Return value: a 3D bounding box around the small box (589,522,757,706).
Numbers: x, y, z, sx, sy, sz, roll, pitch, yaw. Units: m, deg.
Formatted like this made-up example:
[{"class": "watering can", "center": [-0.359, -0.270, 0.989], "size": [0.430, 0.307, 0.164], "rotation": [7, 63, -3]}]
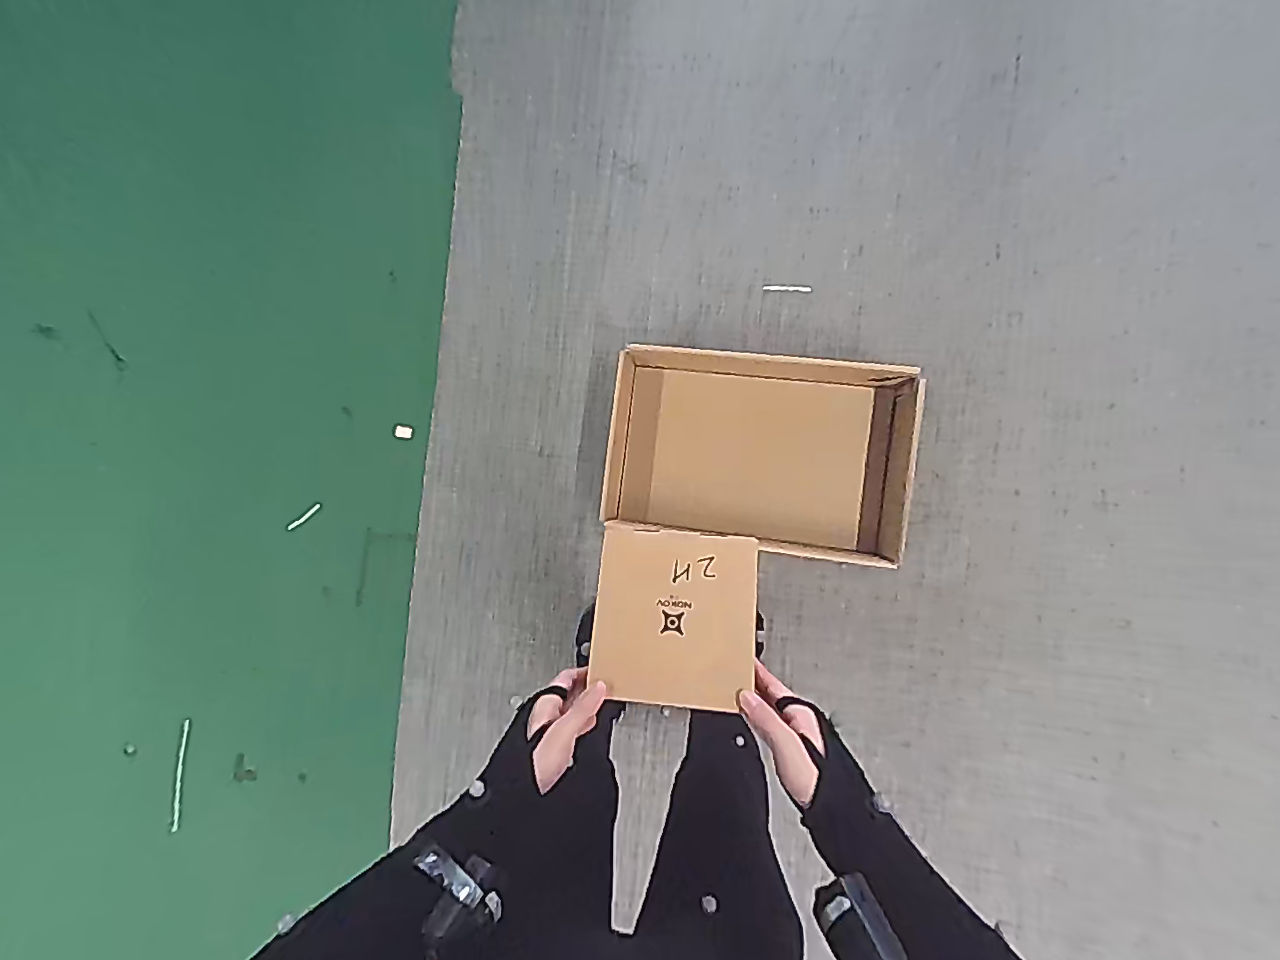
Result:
[{"class": "small box", "center": [0.045, 0.161, 0.642], "size": [0.168, 0.176, 0.179], "rotation": [4, 70, 6]}]
